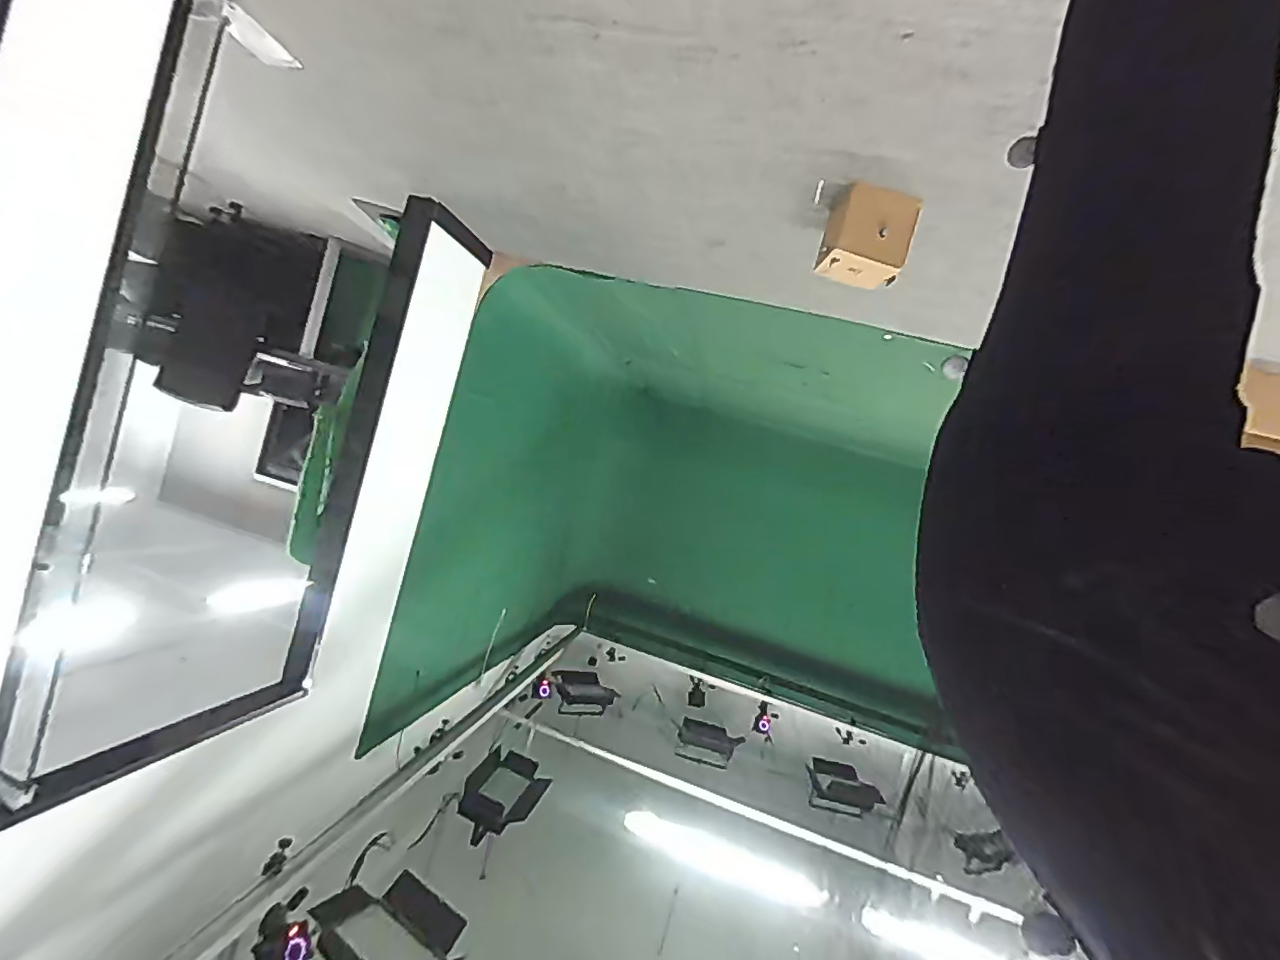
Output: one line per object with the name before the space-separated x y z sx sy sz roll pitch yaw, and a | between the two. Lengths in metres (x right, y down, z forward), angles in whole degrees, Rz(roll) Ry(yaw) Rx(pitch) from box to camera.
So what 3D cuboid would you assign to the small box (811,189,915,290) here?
small box | 0.566 -0.611 1.379 0.179 0.176 0.168 15 -179 -2
